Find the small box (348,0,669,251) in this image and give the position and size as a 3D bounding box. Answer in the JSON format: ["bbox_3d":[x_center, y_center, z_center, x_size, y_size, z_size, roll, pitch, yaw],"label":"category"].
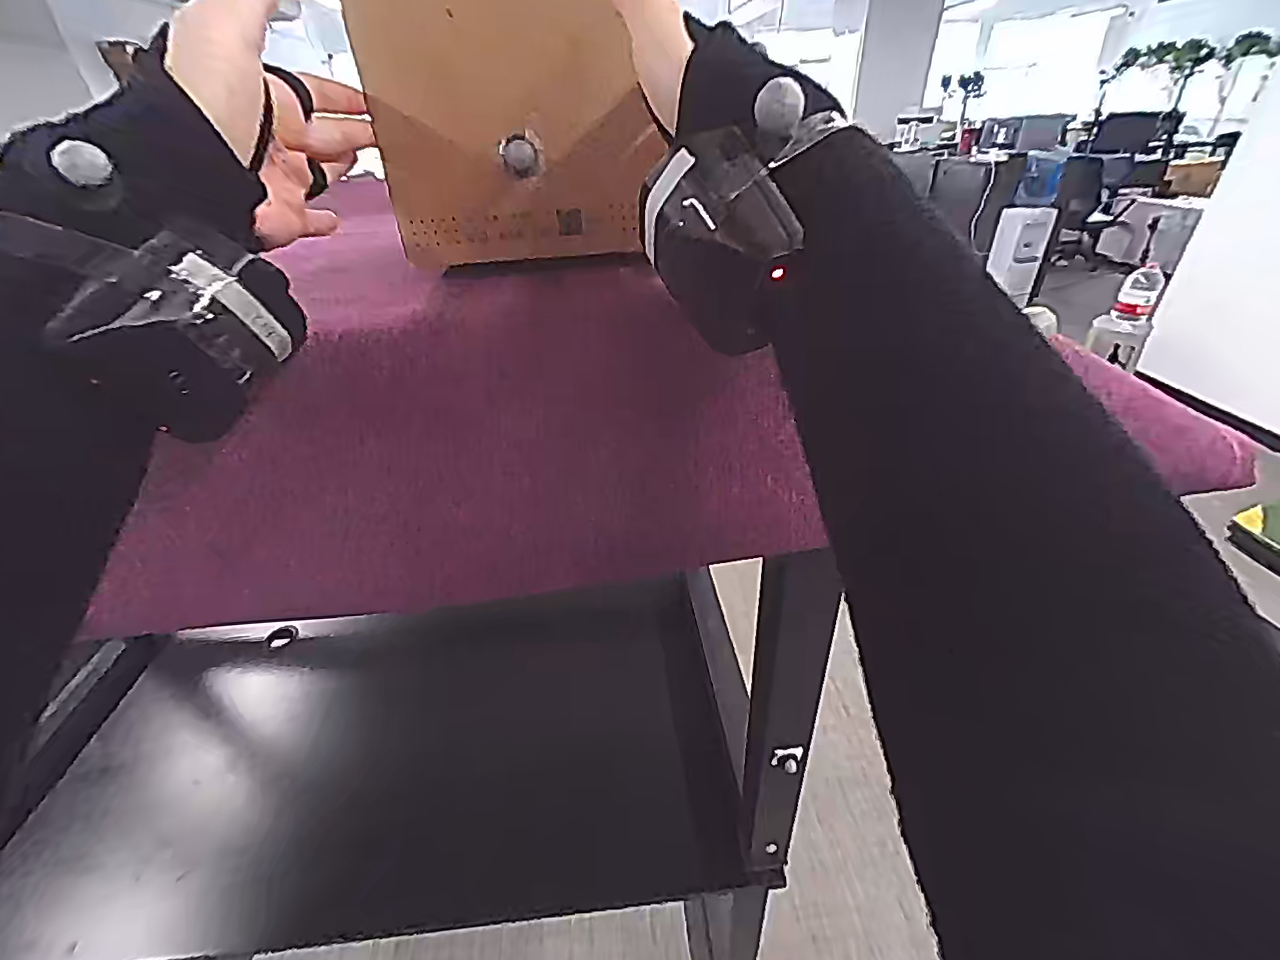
[{"bbox_3d":[-0.069,-0.251,0.355,0.168,0.176,0.179,-4,31,0],"label":"small box"}]
